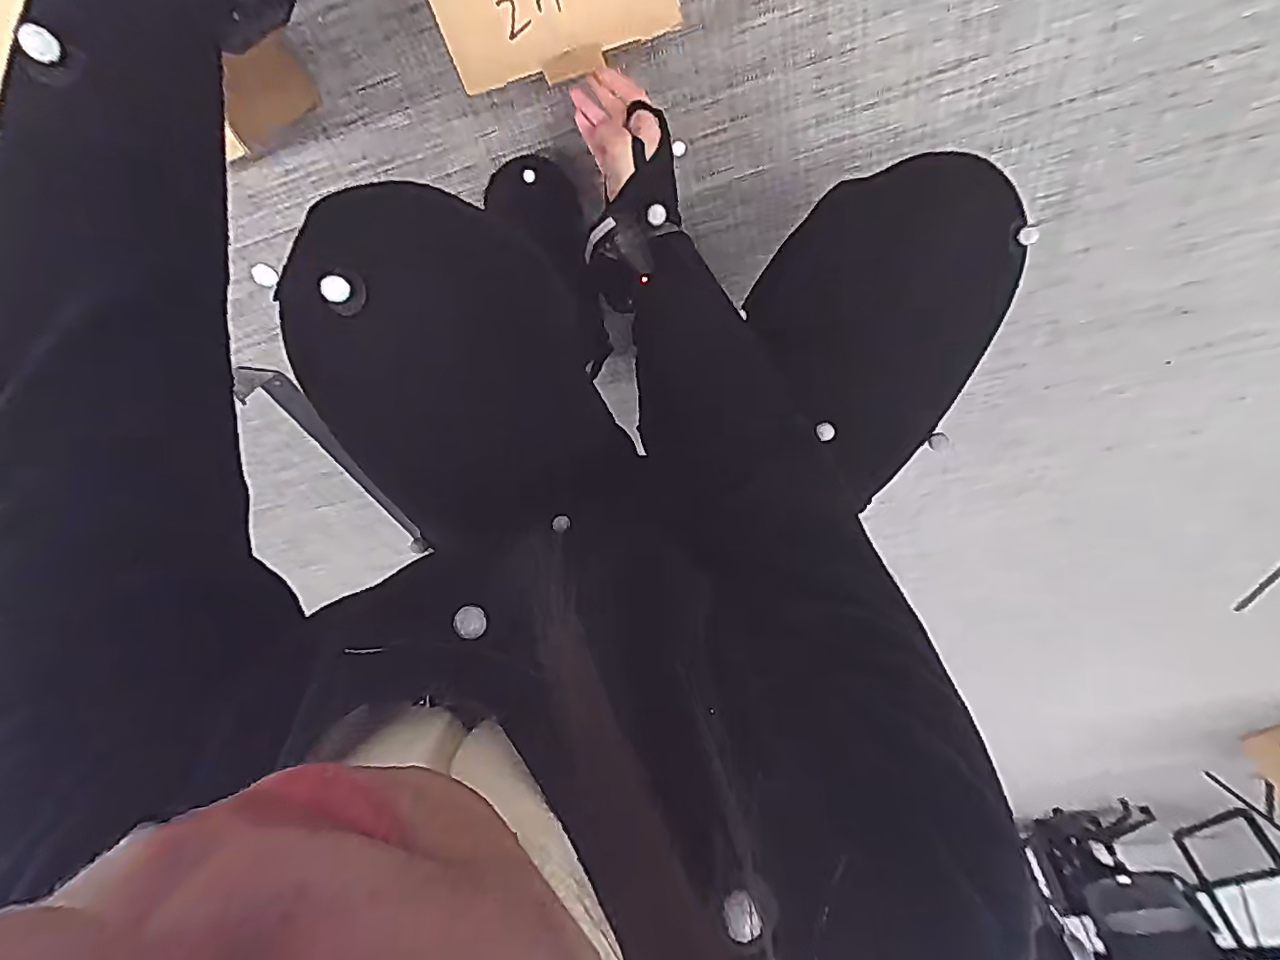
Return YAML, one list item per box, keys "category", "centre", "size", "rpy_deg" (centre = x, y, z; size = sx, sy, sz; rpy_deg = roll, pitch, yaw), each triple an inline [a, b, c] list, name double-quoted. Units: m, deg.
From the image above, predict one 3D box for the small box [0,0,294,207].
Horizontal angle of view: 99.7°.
- category: "small box"
  centre: [-0.411, -0.350, 0.423]
  size: [0.179, 0.176, 0.168]
  rpy_deg: [-12, 138, 7]

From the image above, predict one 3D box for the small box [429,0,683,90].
- category: "small box"
  centre: [-0.071, -0.413, 0.375]
  size: [0.168, 0.176, 0.179]
  rpy_deg: [-11, 138, 9]
